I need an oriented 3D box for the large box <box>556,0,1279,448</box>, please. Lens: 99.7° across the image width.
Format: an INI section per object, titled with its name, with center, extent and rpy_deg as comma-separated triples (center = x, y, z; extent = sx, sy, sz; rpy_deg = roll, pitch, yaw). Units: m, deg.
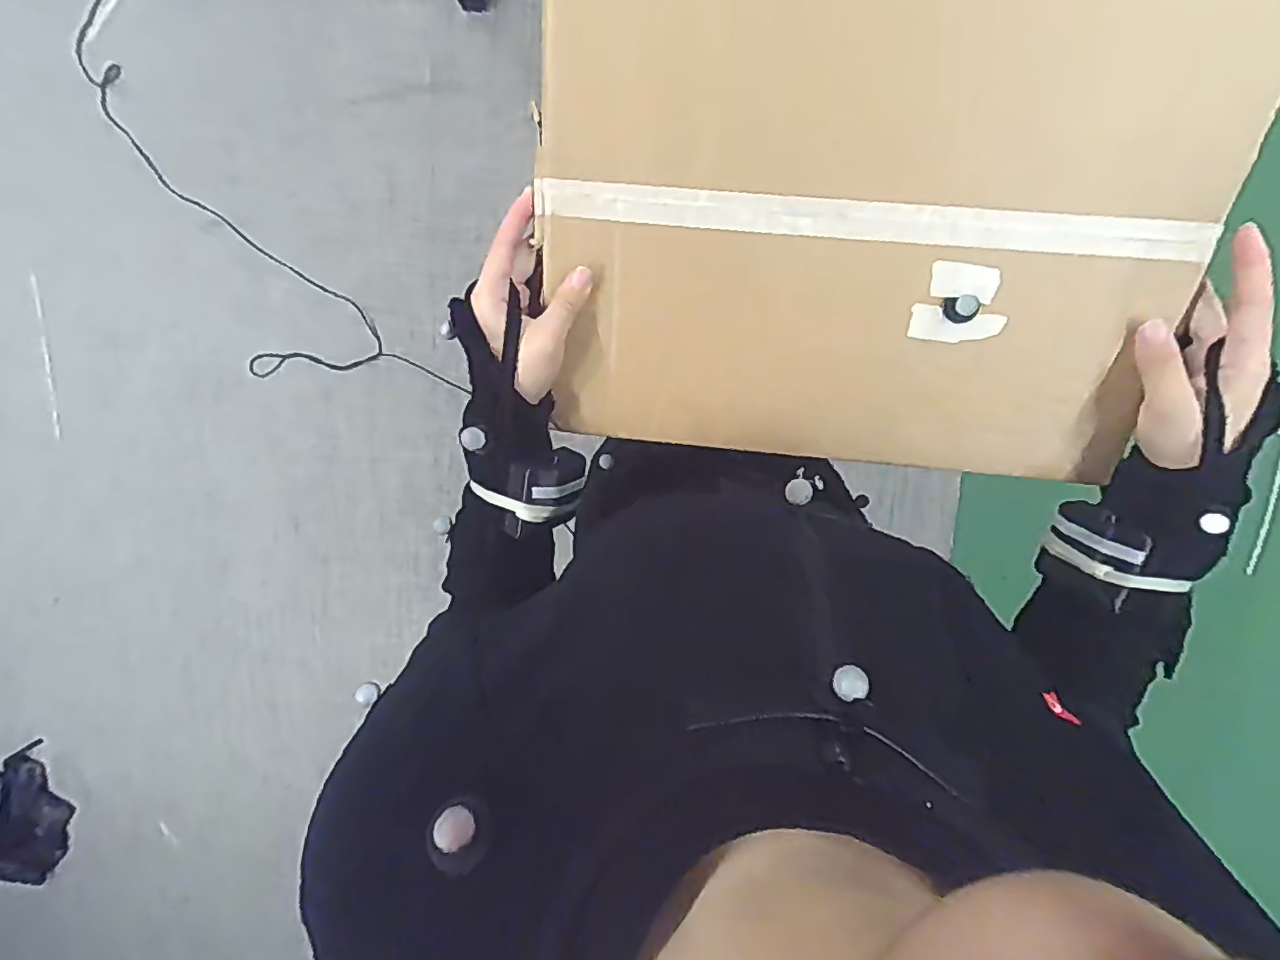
[large box]
center = 0.153, -0.233, 0.475
extent = 0.408, 0.320, 0.320
rpy_deg = 5, 114, 2
